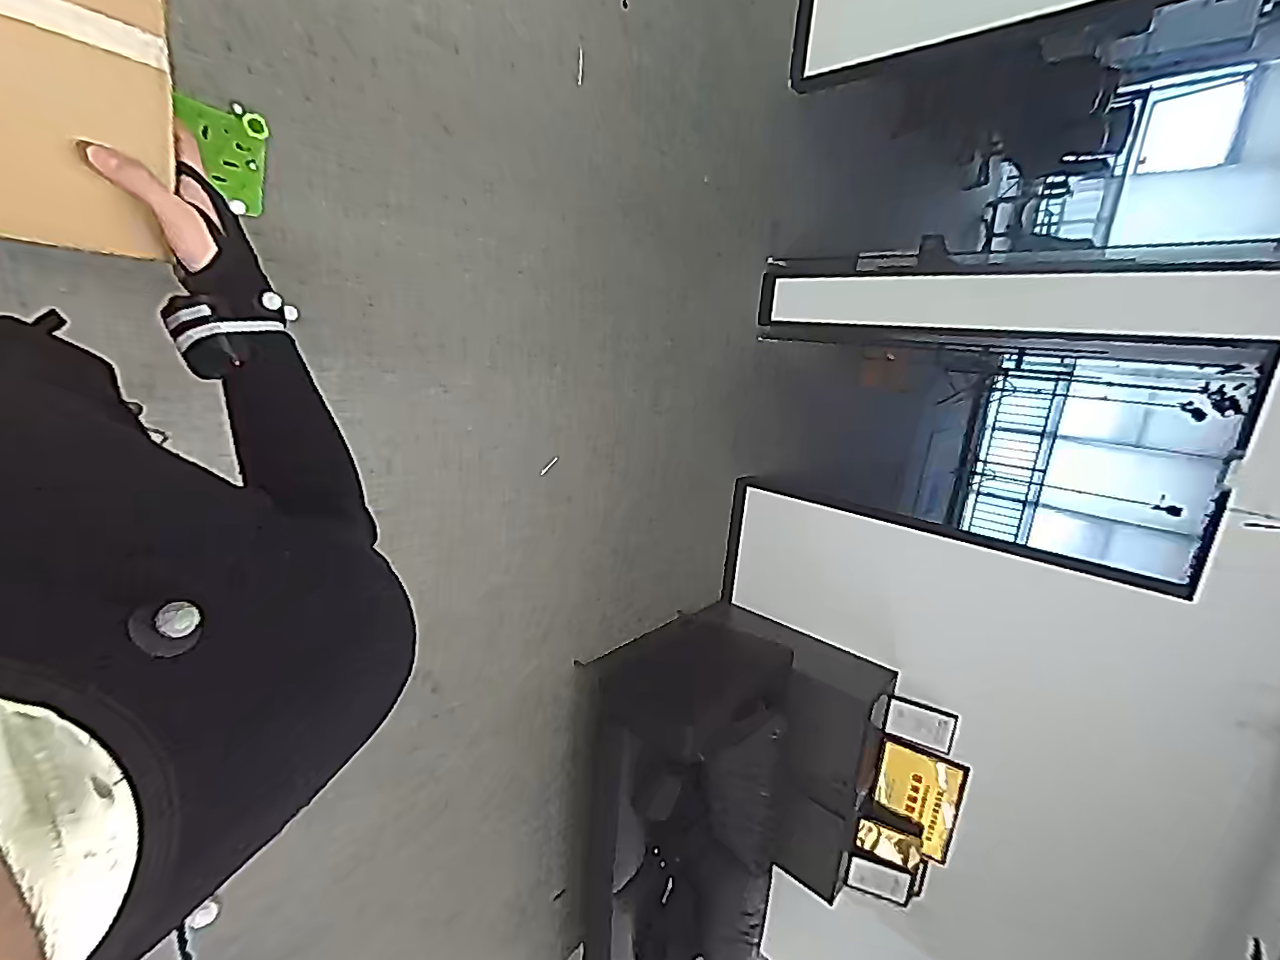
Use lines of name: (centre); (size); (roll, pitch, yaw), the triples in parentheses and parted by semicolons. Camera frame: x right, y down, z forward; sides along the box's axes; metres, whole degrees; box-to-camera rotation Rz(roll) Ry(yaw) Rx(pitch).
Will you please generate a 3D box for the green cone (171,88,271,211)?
green cone: (-0.830, -0.698, 1.103); (0.200, 0.368, 0.202); (-3, 104, -50)
